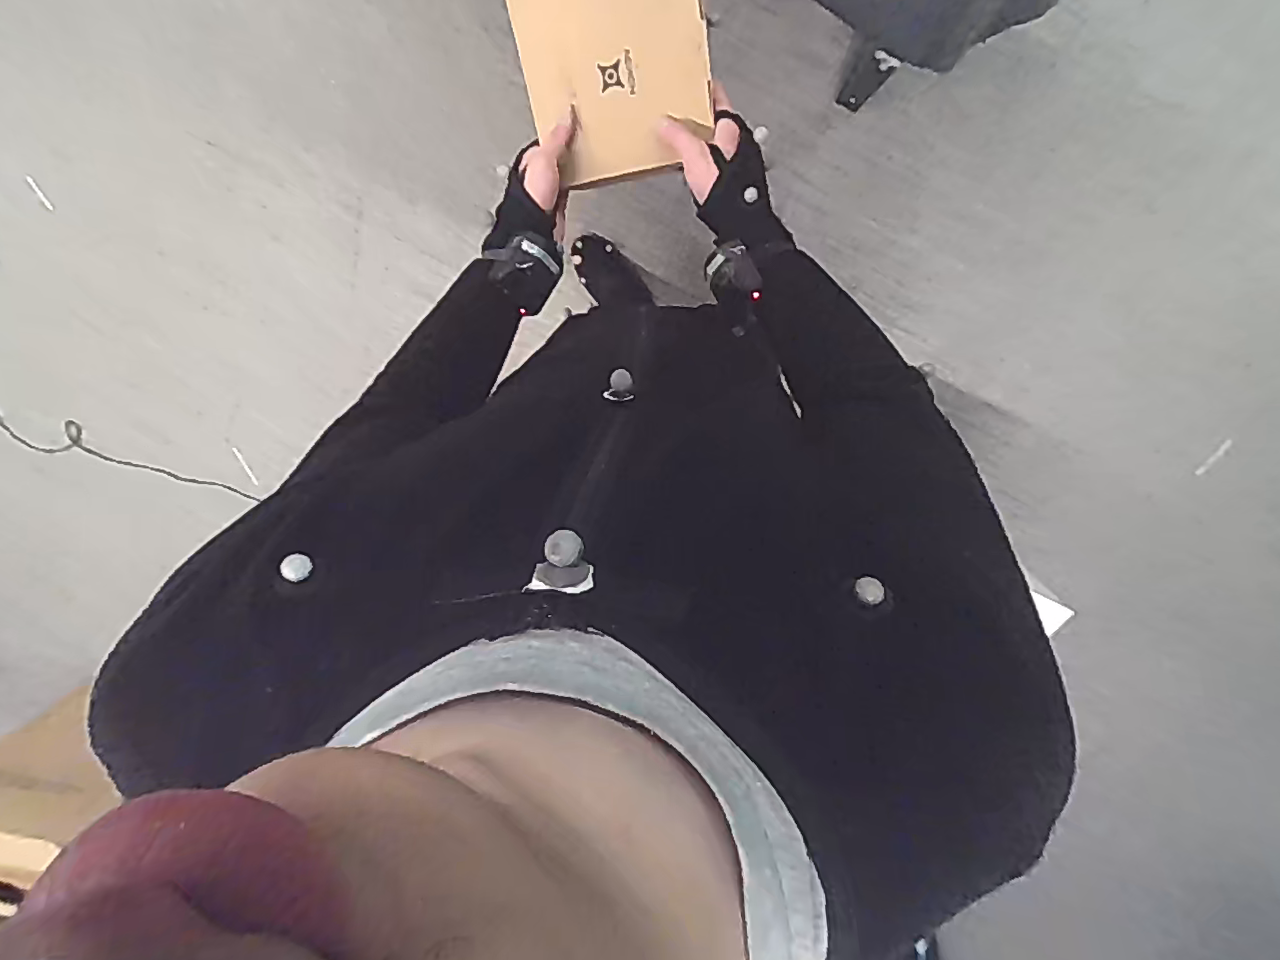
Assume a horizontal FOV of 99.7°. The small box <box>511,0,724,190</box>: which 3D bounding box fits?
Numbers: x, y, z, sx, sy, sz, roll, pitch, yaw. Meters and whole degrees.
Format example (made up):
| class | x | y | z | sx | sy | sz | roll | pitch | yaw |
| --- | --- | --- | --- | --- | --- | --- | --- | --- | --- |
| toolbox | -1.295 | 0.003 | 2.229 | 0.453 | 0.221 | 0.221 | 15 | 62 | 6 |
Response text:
| class | x | y | z | sx | sy | sz | roll | pitch | yaw |
| --- | --- | --- | --- | --- | --- | --- | --- | --- | --- |
| small box | -0.008 | -0.413 | 0.566 | 0.179 | 0.176 | 0.168 | -6 | 117 | 13 |
